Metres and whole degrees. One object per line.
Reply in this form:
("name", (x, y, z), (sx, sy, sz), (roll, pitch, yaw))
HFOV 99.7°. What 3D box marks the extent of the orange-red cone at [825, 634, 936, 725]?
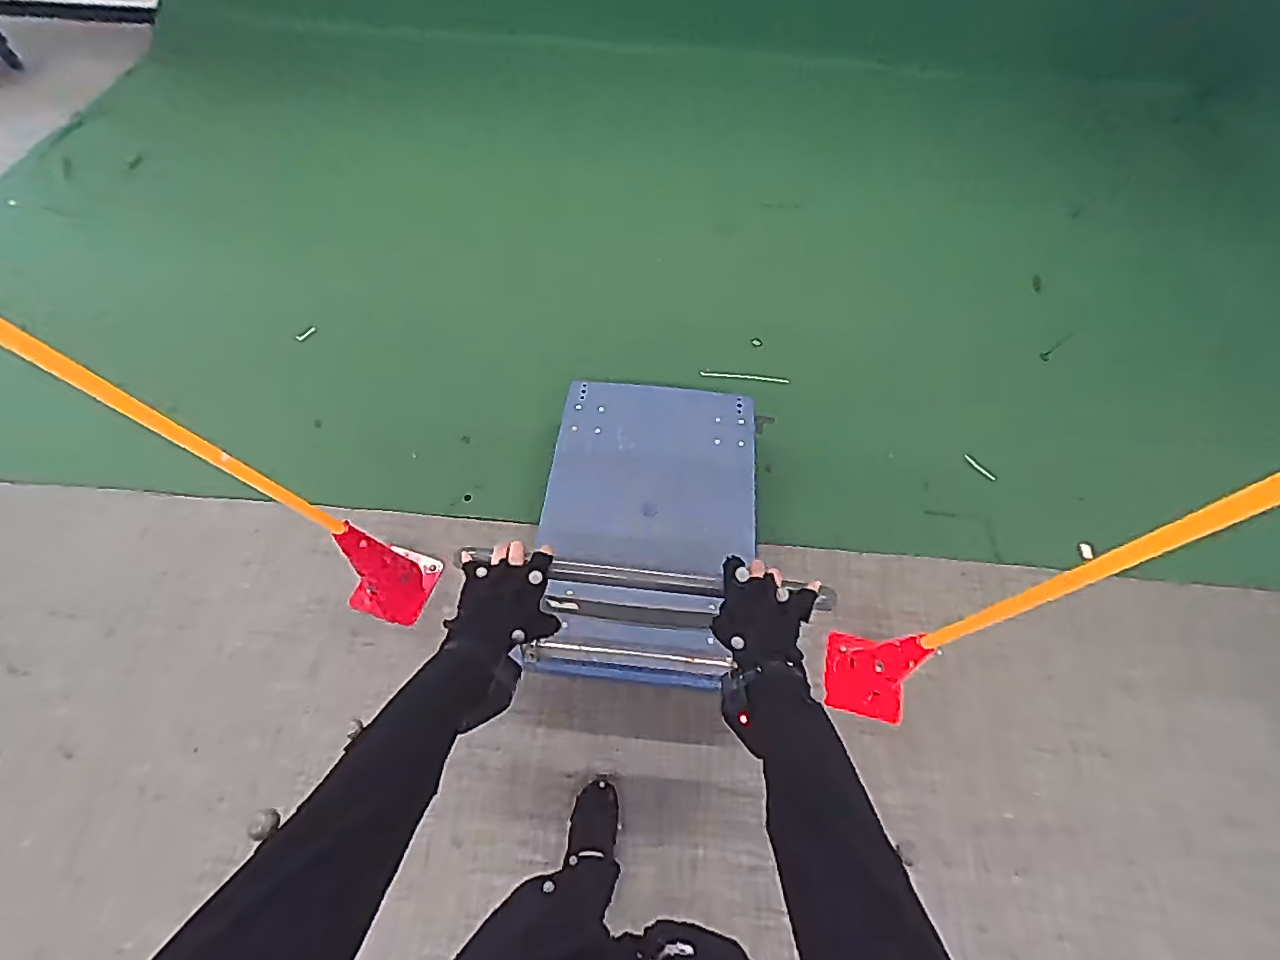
("orange-red cone", (0.593, 0.430, 1.267), (0.198, 0.360, 0.199), (14, 60, 7))
